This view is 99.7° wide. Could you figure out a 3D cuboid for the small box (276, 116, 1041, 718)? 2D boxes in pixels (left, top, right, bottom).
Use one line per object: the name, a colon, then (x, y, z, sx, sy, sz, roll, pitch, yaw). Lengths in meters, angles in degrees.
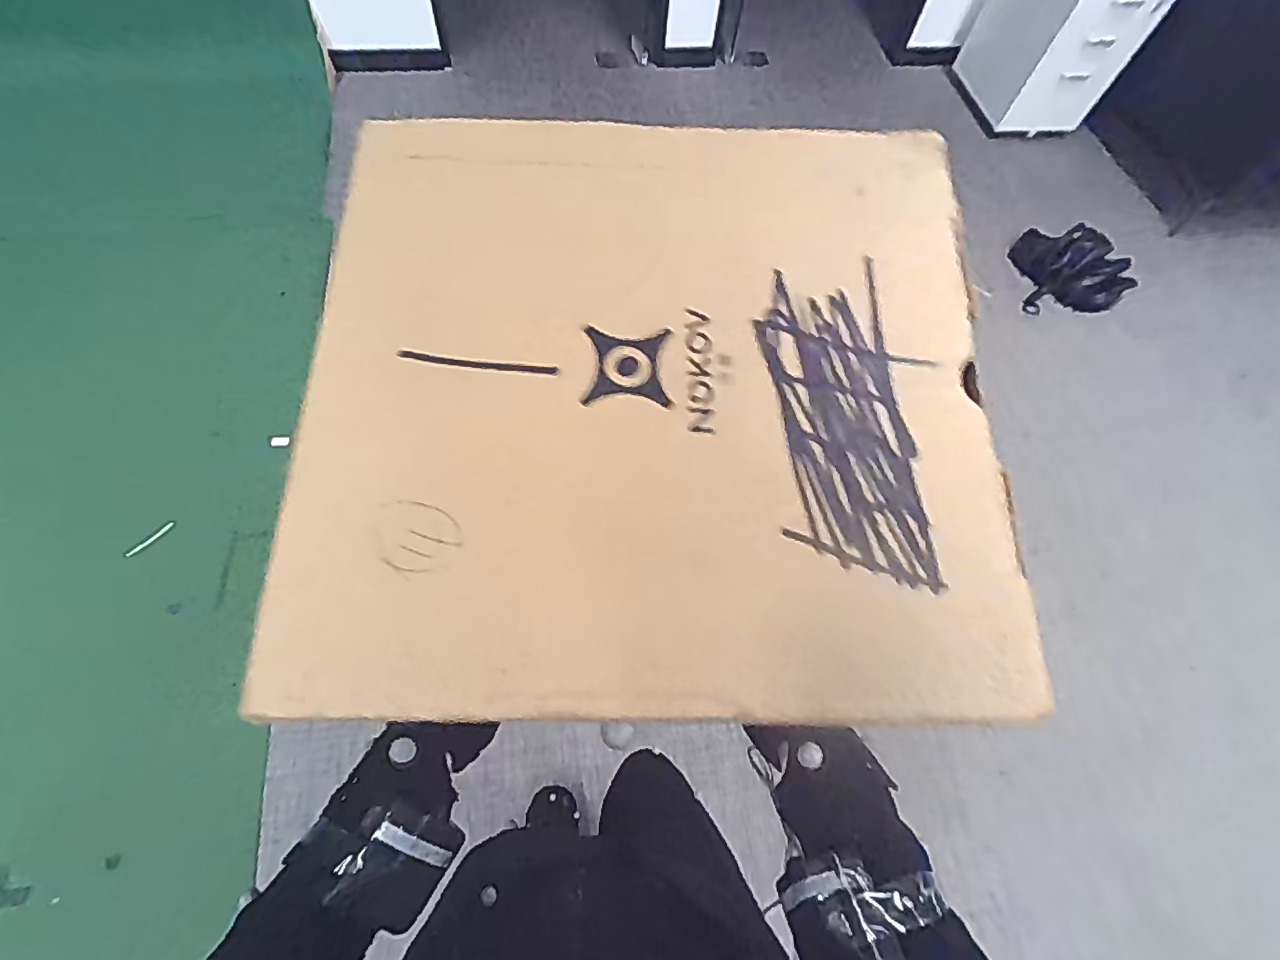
small box: (0.005, -0.004, 0.220, 0.179, 0.176, 0.168, 2, 72, -2)
